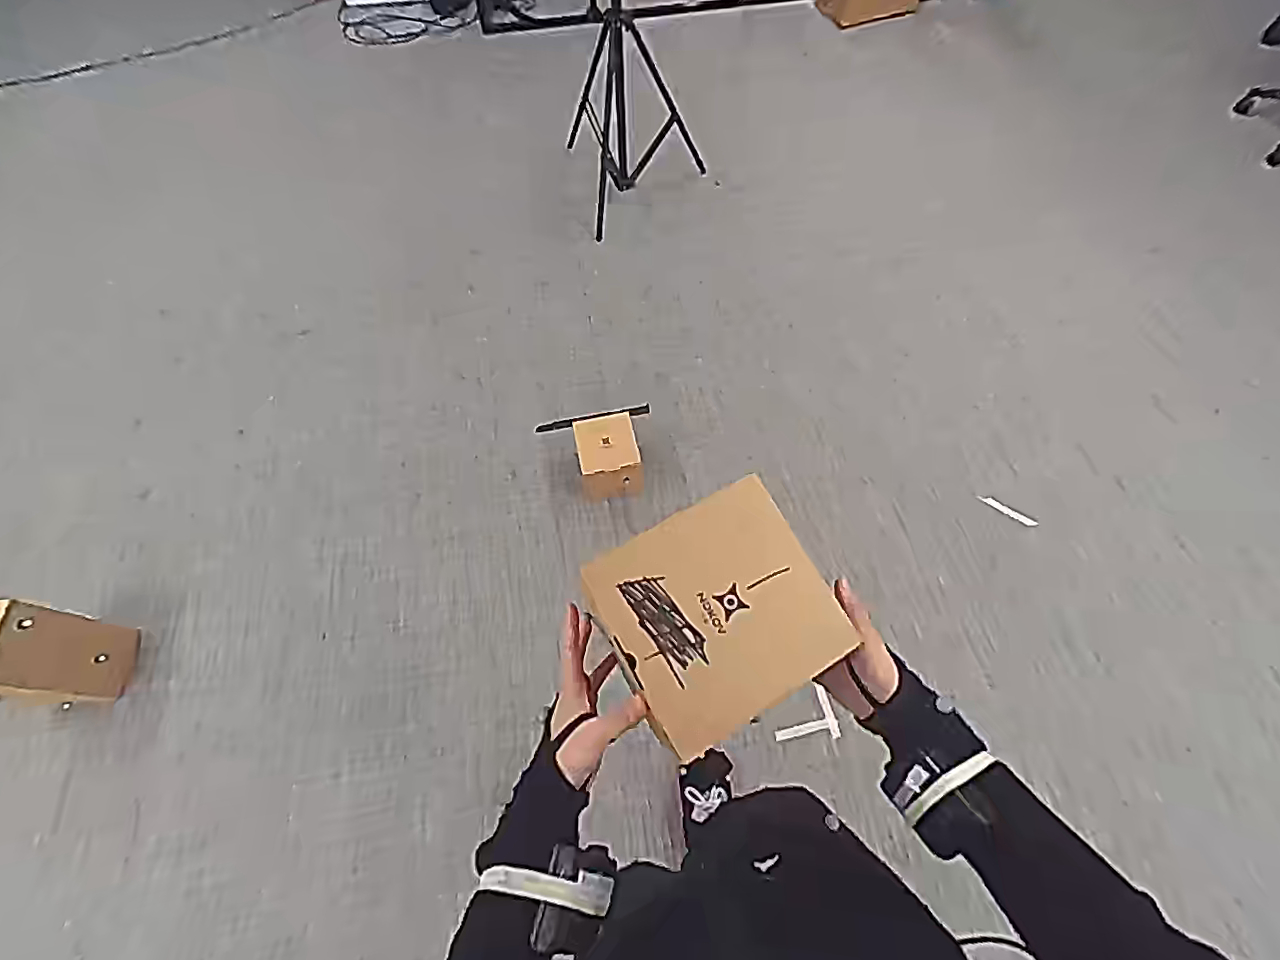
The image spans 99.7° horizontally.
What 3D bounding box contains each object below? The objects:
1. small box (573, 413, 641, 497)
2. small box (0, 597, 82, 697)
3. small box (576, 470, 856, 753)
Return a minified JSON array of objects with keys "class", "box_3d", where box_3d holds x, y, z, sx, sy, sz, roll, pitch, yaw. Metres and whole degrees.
[{"class":"small box","box_3d":[-0.093,-0.064,1.568,0.168,0.176,0.179,-12,63,-6]},{"class":"small box","box_3d":[-1.392,0.368,1.178,0.168,0.176,0.179,-6,64,-2]},{"class":"small box","box_3d":[0.055,0.120,0.508,0.179,0.176,0.168,-28,78,-14]}]
